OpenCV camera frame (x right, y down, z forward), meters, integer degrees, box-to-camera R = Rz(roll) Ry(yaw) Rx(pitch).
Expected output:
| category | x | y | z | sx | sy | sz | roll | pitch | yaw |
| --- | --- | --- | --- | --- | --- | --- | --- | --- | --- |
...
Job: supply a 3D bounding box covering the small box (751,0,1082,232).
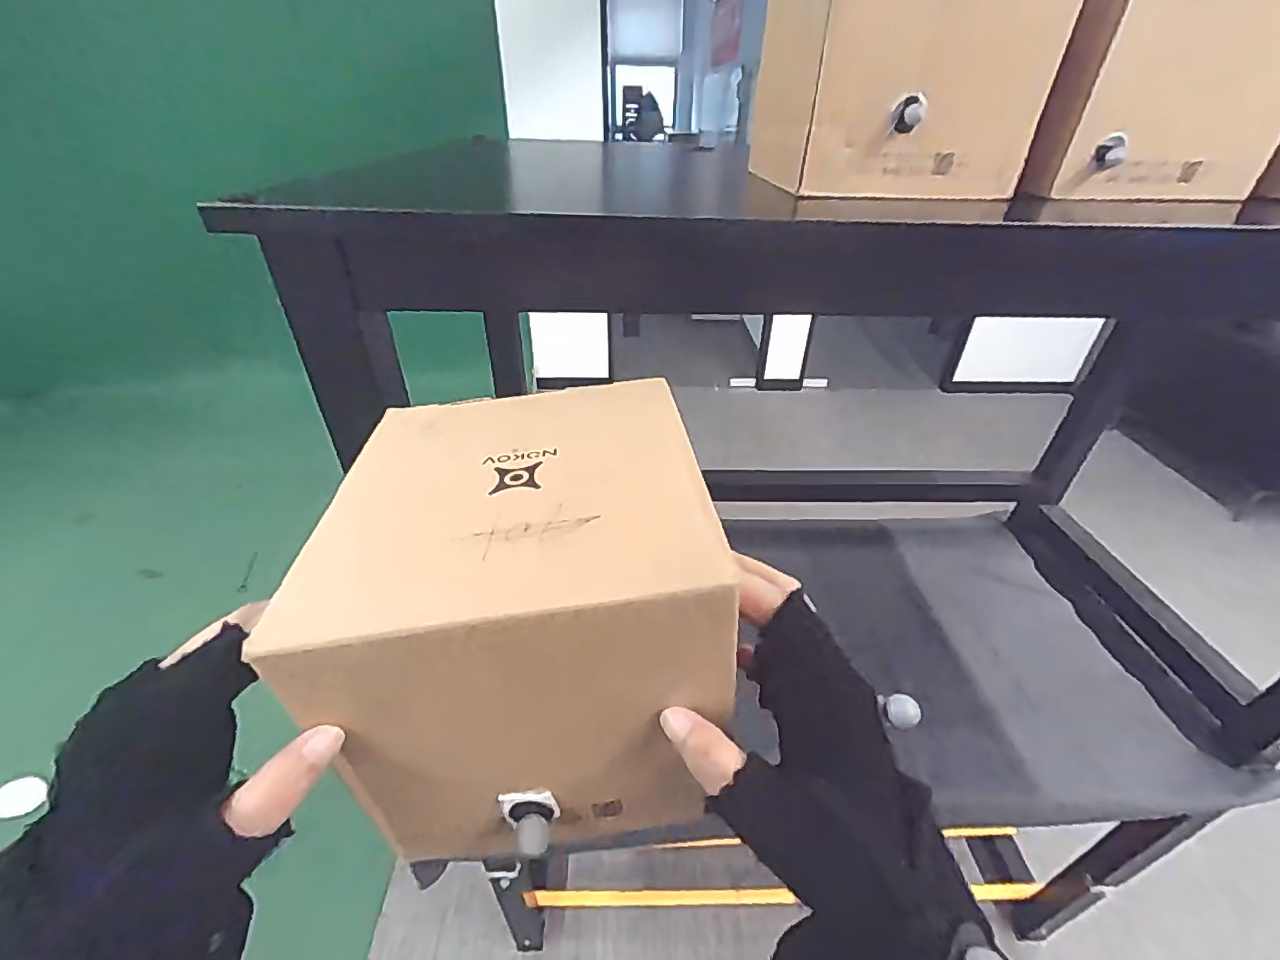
| category | x | y | z | sx | sy | sz | roll | pitch | yaw |
| --- | --- | --- | --- | --- | --- | --- | --- | --- | --- |
| small box | 0.196 | -0.312 | 0.442 | 0.168 | 0.176 | 0.179 | 0 | 36 | -3 |
